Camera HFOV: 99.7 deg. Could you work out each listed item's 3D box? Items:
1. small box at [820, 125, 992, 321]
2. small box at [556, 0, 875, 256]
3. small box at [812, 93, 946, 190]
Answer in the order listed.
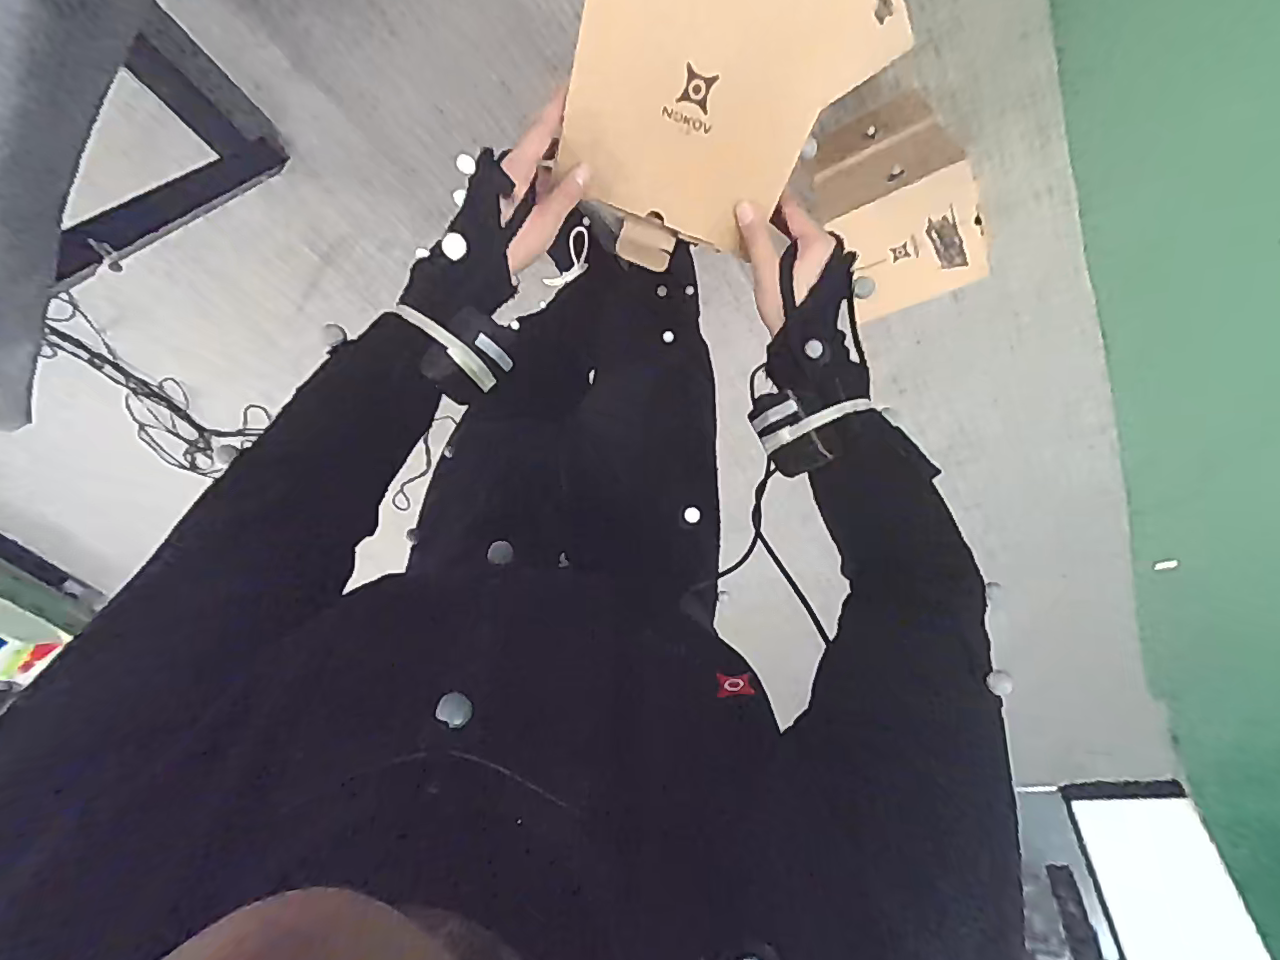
[{"bbox_3d":[0.370,-0.366,0.772,0.179,0.176,0.168,-16,129,28],"label":"small box"},{"bbox_3d":[0.048,-0.311,0.413,0.168,0.176,0.179,17,135,-7],"label":"small box"},{"bbox_3d":[0.392,-0.488,0.880,0.179,0.176,0.168,-16,129,28],"label":"small box"}]
